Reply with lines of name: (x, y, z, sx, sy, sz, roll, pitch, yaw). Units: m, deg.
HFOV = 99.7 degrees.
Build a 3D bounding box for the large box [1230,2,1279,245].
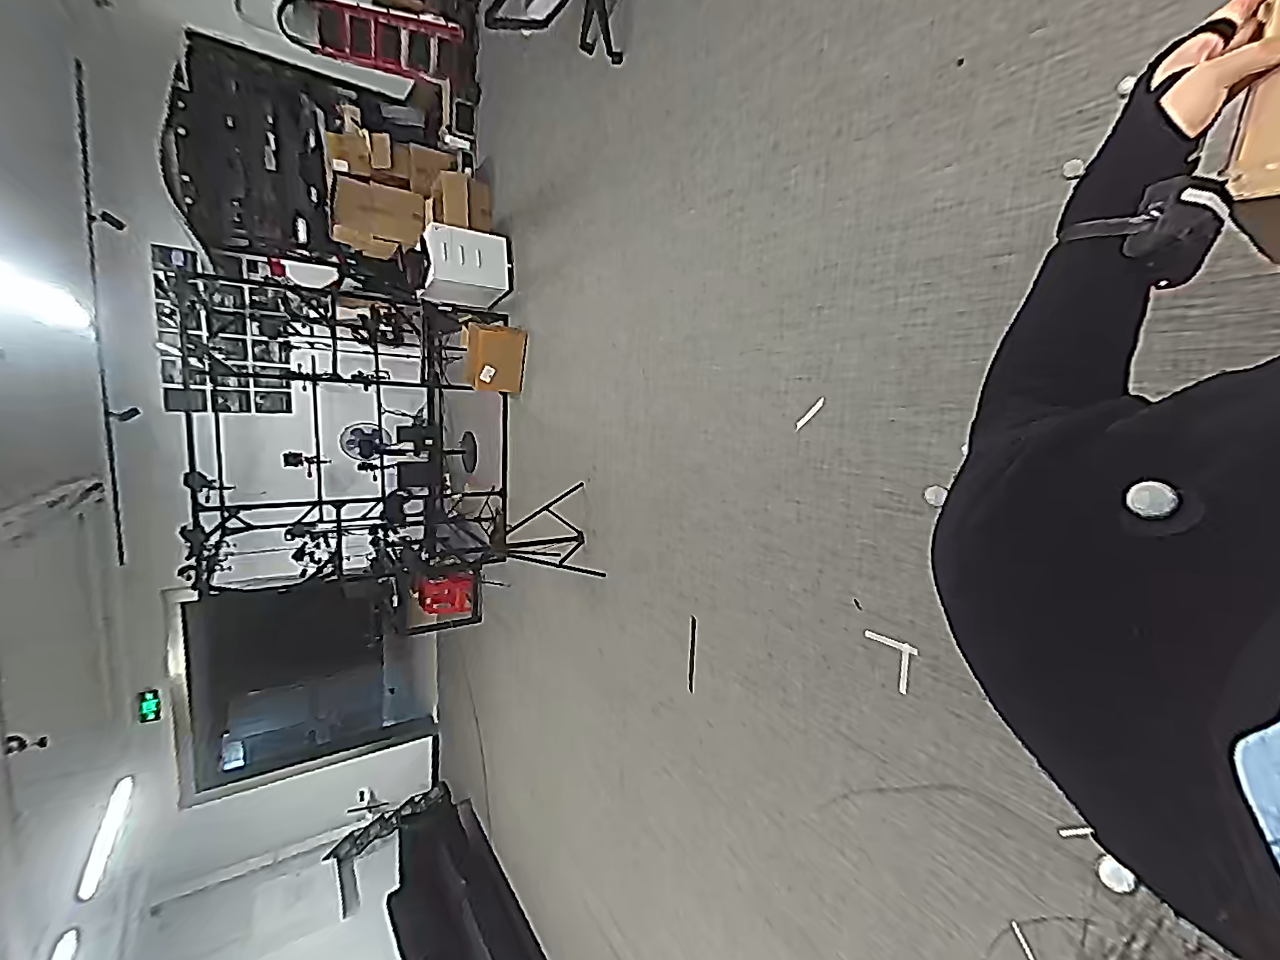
large box: (0.692, -0.329, 0.303, 0.408, 0.320, 0.320, 20, 109, 54)
